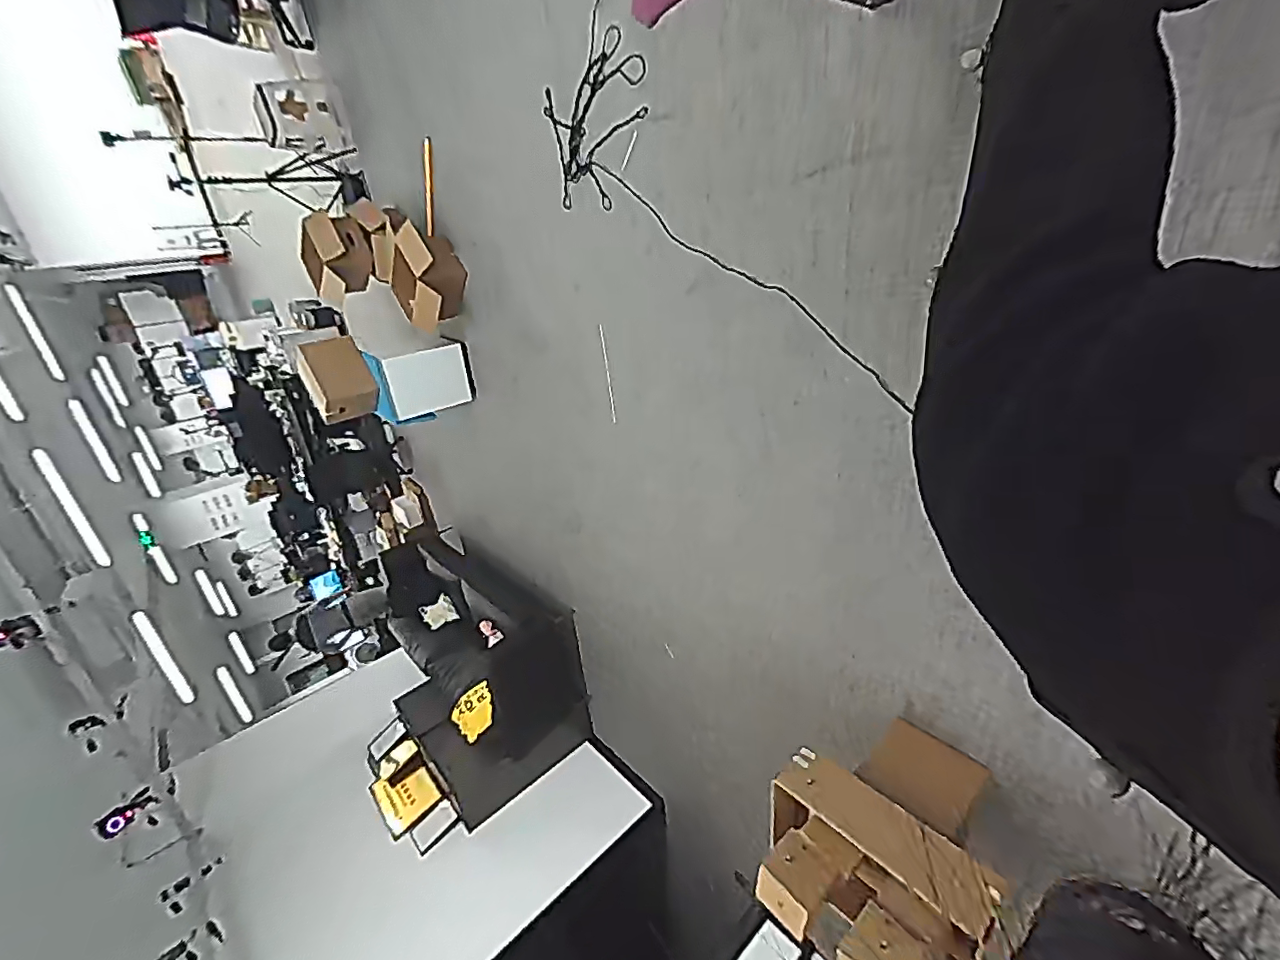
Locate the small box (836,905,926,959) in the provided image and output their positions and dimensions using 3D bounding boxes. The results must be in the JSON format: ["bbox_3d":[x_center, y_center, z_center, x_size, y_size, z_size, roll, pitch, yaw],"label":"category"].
[{"bbox_3d":[0.636,1.292,1.429,0.168,0.176,0.179,19,123,47],"label":"small box"}]

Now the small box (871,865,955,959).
[{"bbox_3d":[0.766,1.253,1.523,0.168,0.176,0.179,17,123,46],"label":"small box"}]

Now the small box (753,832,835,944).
[{"bbox_3d":[0.460,1.206,1.611,0.168,0.176,0.179,28,130,42],"label":"small box"}]
